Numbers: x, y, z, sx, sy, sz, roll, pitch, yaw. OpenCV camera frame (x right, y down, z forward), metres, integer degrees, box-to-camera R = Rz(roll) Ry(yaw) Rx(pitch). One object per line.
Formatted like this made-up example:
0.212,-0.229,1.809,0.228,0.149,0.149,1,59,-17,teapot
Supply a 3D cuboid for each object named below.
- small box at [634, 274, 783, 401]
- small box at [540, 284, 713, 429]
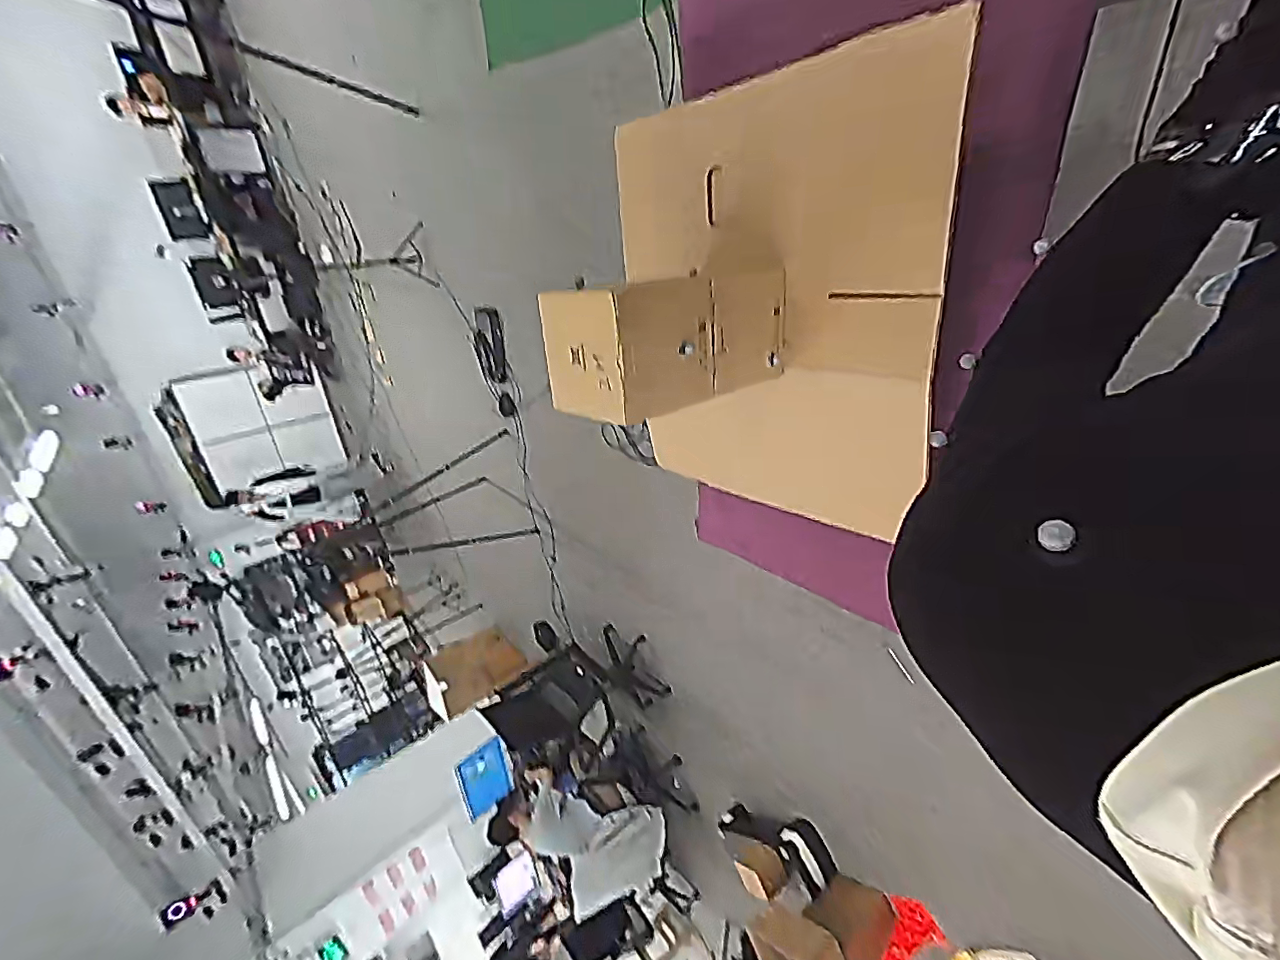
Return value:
0.109,-0.233,0.860,0.179,0.176,0.168,20,123,46,small box
-0.016,-0.183,0.766,0.179,0.176,0.168,19,123,45,small box
